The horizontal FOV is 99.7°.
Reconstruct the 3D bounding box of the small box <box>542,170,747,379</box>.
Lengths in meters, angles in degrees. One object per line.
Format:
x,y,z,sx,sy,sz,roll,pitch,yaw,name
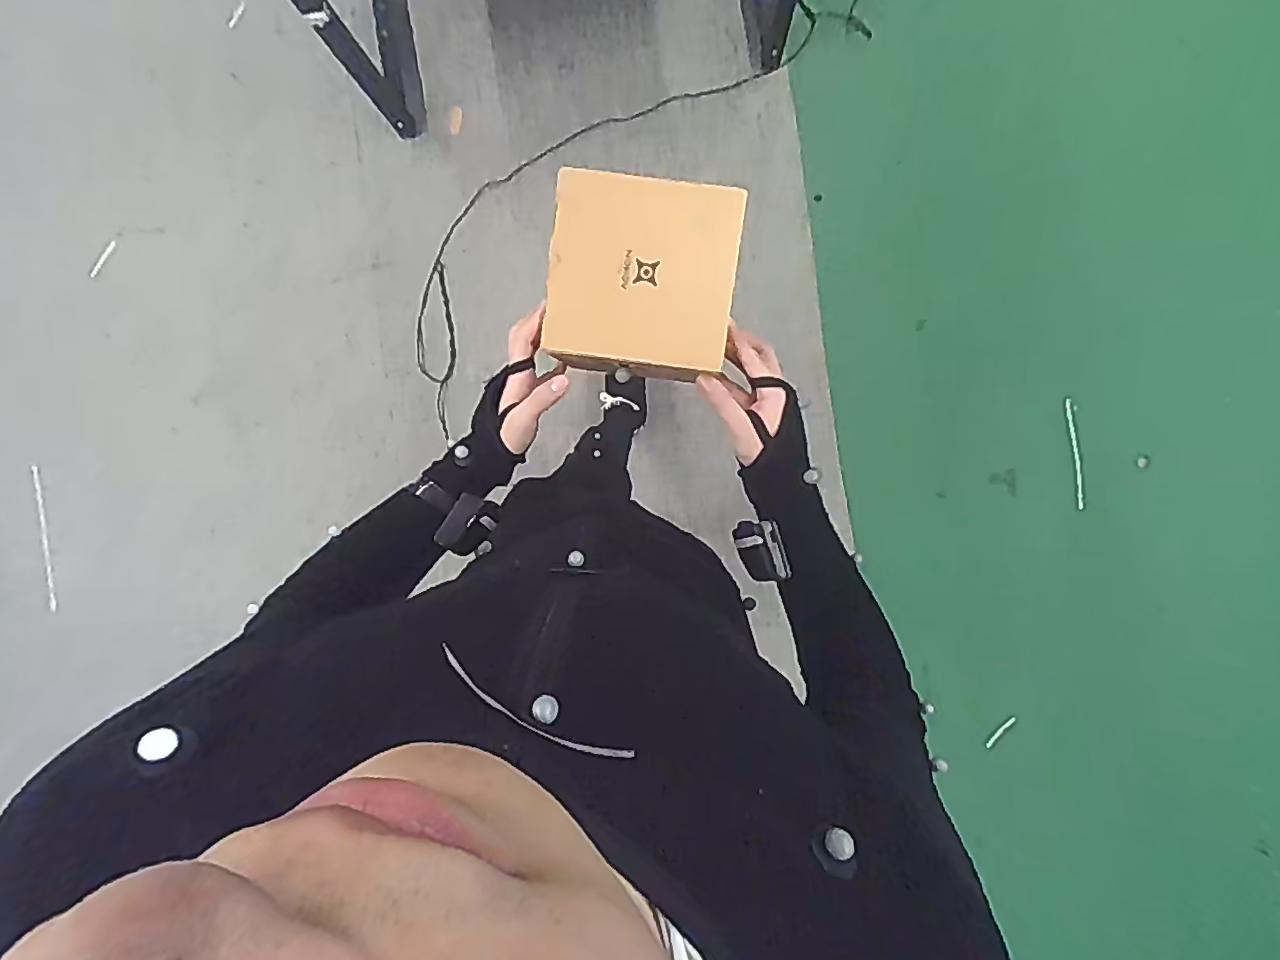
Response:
0.007,-0.203,0.582,0.179,0.176,0.168,8,97,3,small box
